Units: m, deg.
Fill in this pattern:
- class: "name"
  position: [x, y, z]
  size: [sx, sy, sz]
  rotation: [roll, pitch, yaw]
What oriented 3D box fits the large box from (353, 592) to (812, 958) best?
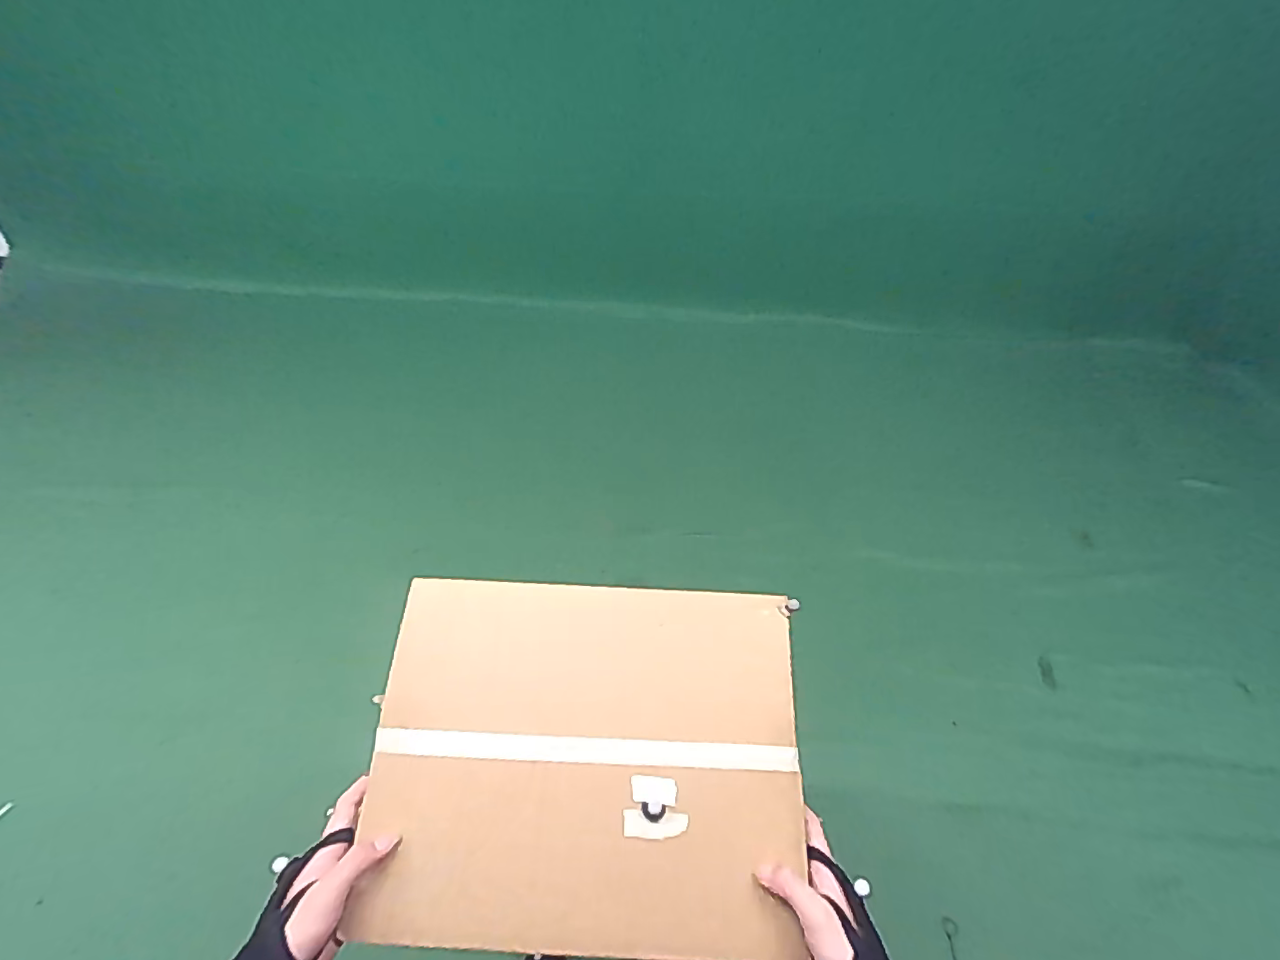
- class: "large box"
  position: [-0.051, 0.330, 0.659]
  size: [0.408, 0.320, 0.320]
  rotation: [2, 66, 0]
